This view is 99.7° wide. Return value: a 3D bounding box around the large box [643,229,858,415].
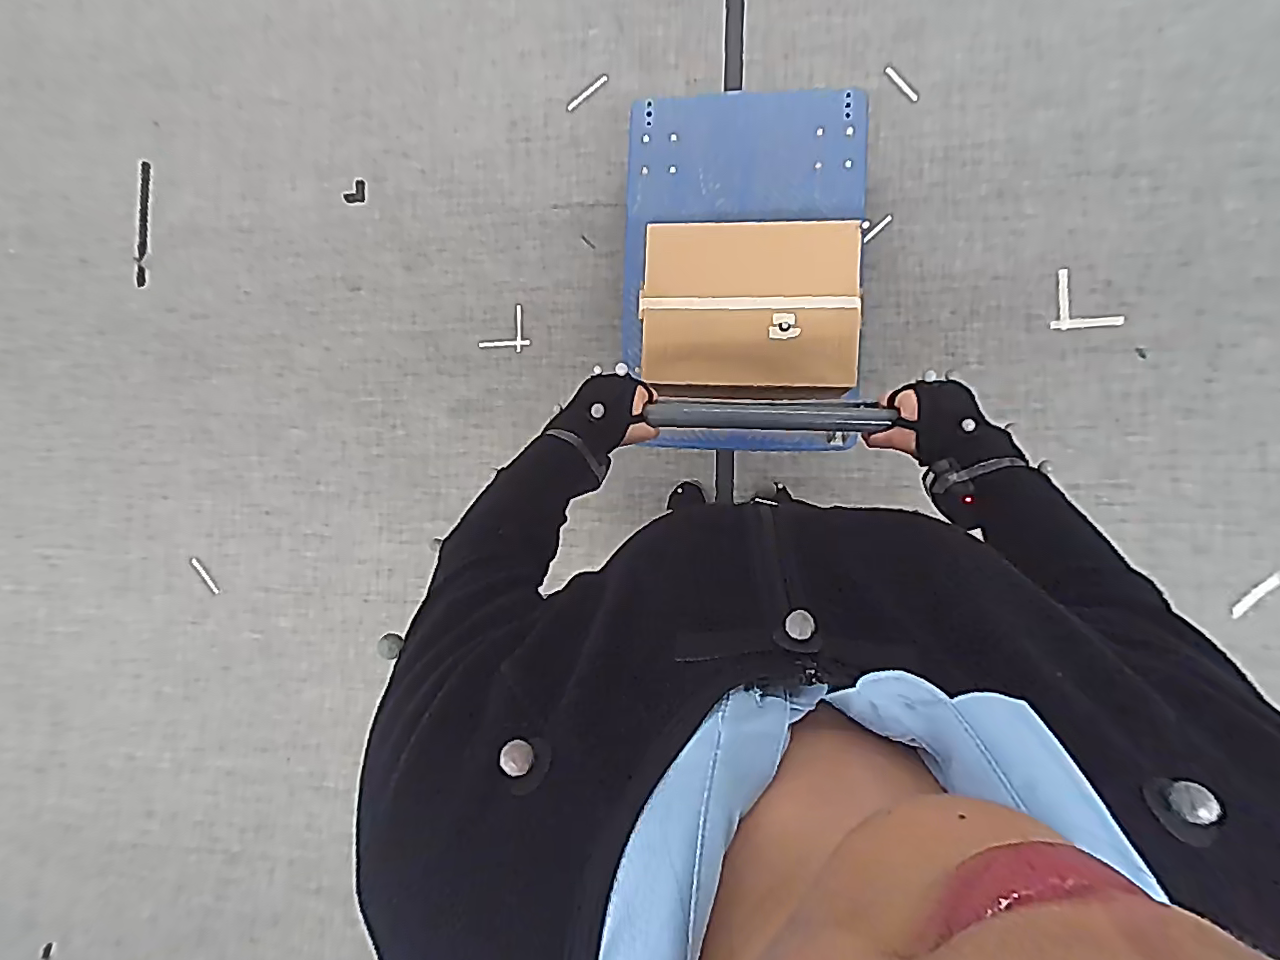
[{"bbox_3d":[0.220,-0.315,1.170,0.408,0.320,0.320,2,90,6],"label":"large box"}]
